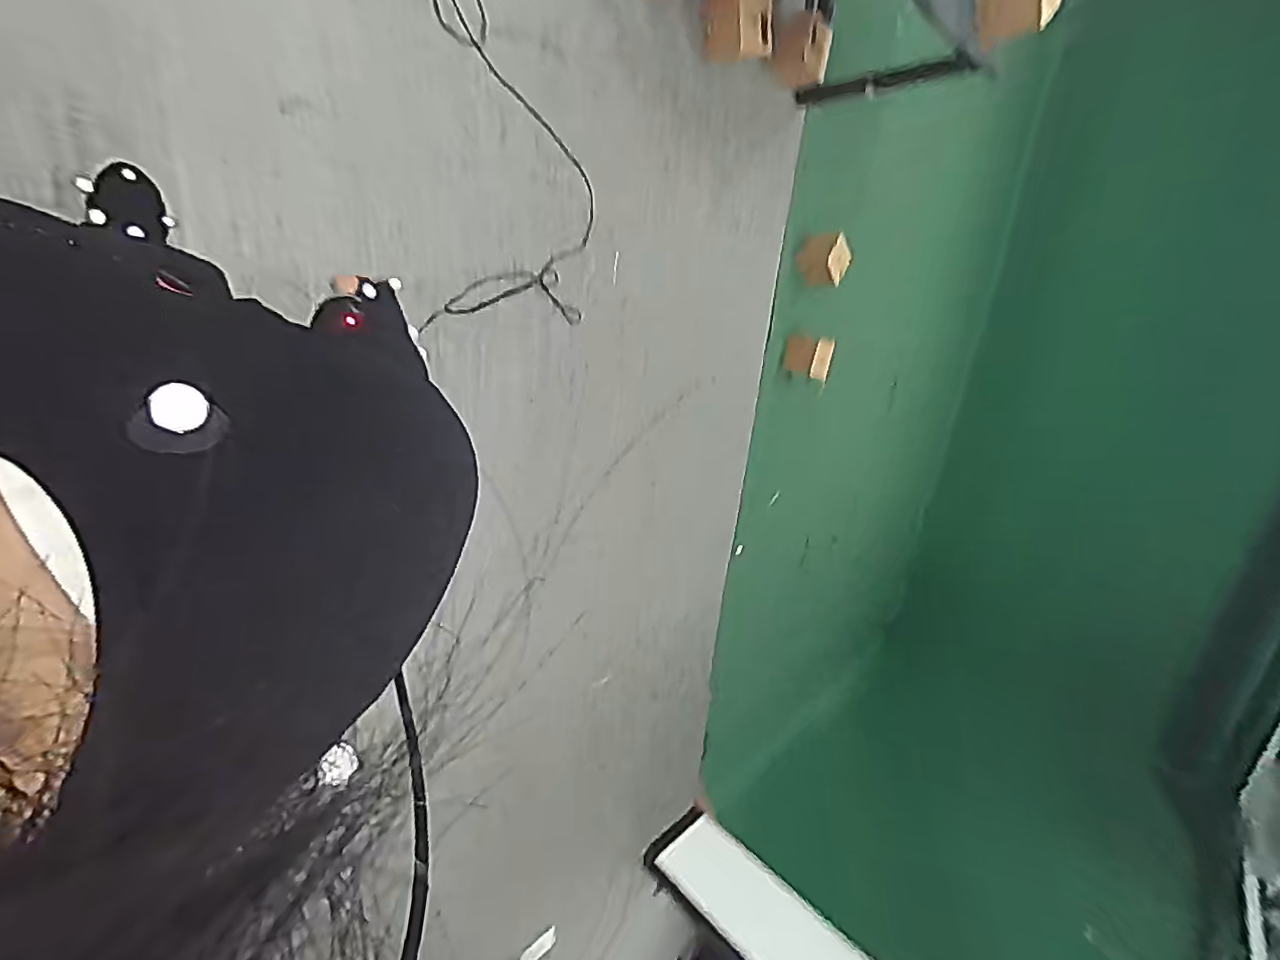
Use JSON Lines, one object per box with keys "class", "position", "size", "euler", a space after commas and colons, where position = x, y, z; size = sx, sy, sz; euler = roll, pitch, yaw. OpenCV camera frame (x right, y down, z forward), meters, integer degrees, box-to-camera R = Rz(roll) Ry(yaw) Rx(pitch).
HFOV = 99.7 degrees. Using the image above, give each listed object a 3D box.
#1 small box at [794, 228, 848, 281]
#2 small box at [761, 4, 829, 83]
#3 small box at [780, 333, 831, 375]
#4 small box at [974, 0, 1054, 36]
{"class": "small box", "position": [0.861, -1.073, 2.584], "size": [0.179, 0.176, 0.168], "euler": [37, 78, -47]}
{"class": "small box", "position": [0.585, -1.643, 2.050], "size": [0.179, 0.176, 0.168], "euler": [-5, 111, -46]}
{"class": "small box", "position": [0.836, -0.641, 2.742], "size": [0.168, 0.176, 0.179], "euler": [0, 108, -45]}
{"class": "small box", "position": [1.083, -1.431, 1.556], "size": [0.179, 0.176, 0.168], "euler": [-53, 134, -16]}
